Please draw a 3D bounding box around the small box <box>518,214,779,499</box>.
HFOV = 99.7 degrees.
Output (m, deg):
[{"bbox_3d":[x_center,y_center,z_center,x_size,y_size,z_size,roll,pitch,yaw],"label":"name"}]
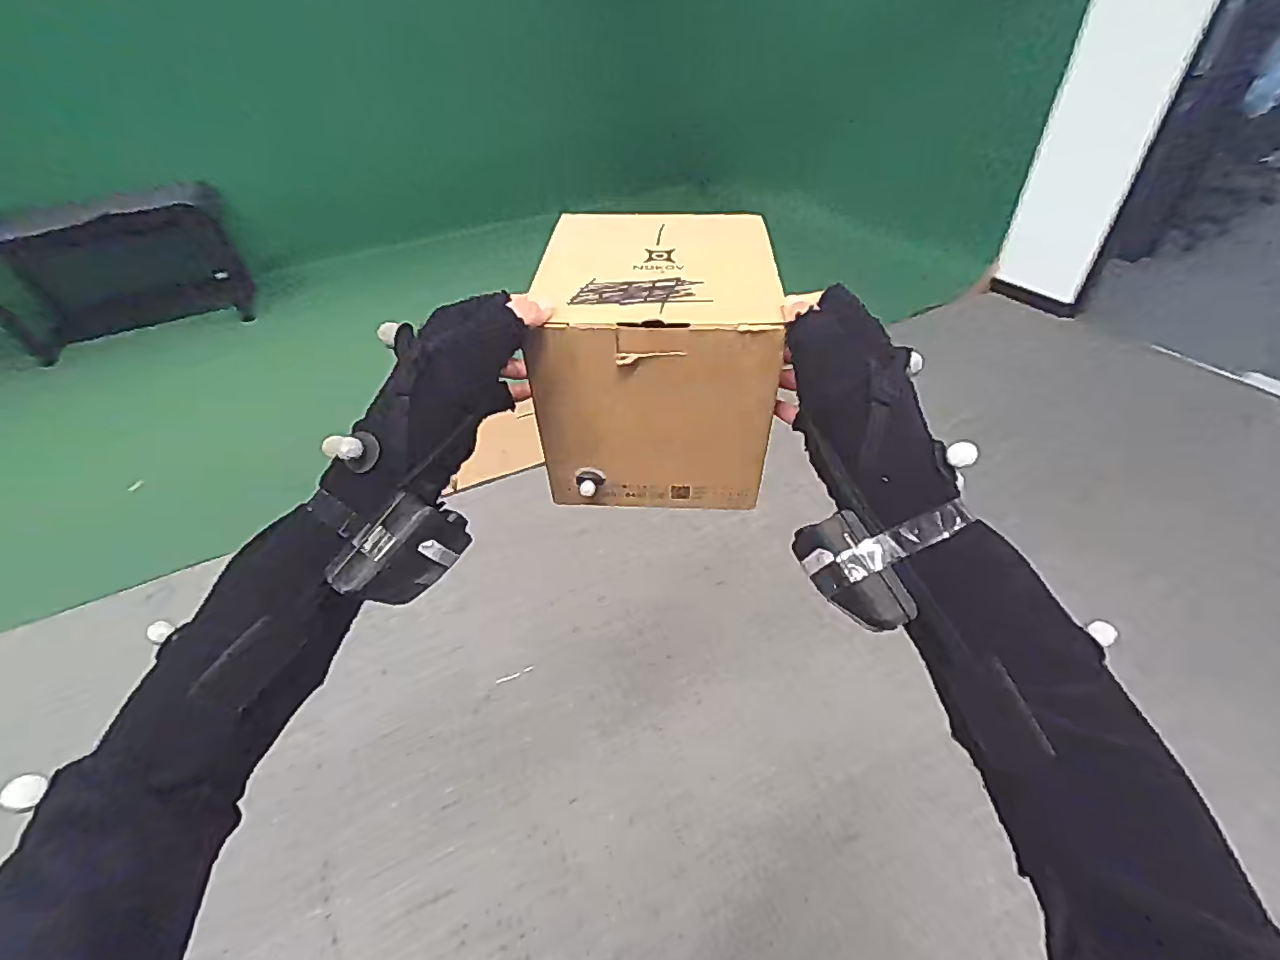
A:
[{"bbox_3d":[0.012,-0.100,0.444,0.168,0.176,0.179,2,45,3],"label":"small box"}]
